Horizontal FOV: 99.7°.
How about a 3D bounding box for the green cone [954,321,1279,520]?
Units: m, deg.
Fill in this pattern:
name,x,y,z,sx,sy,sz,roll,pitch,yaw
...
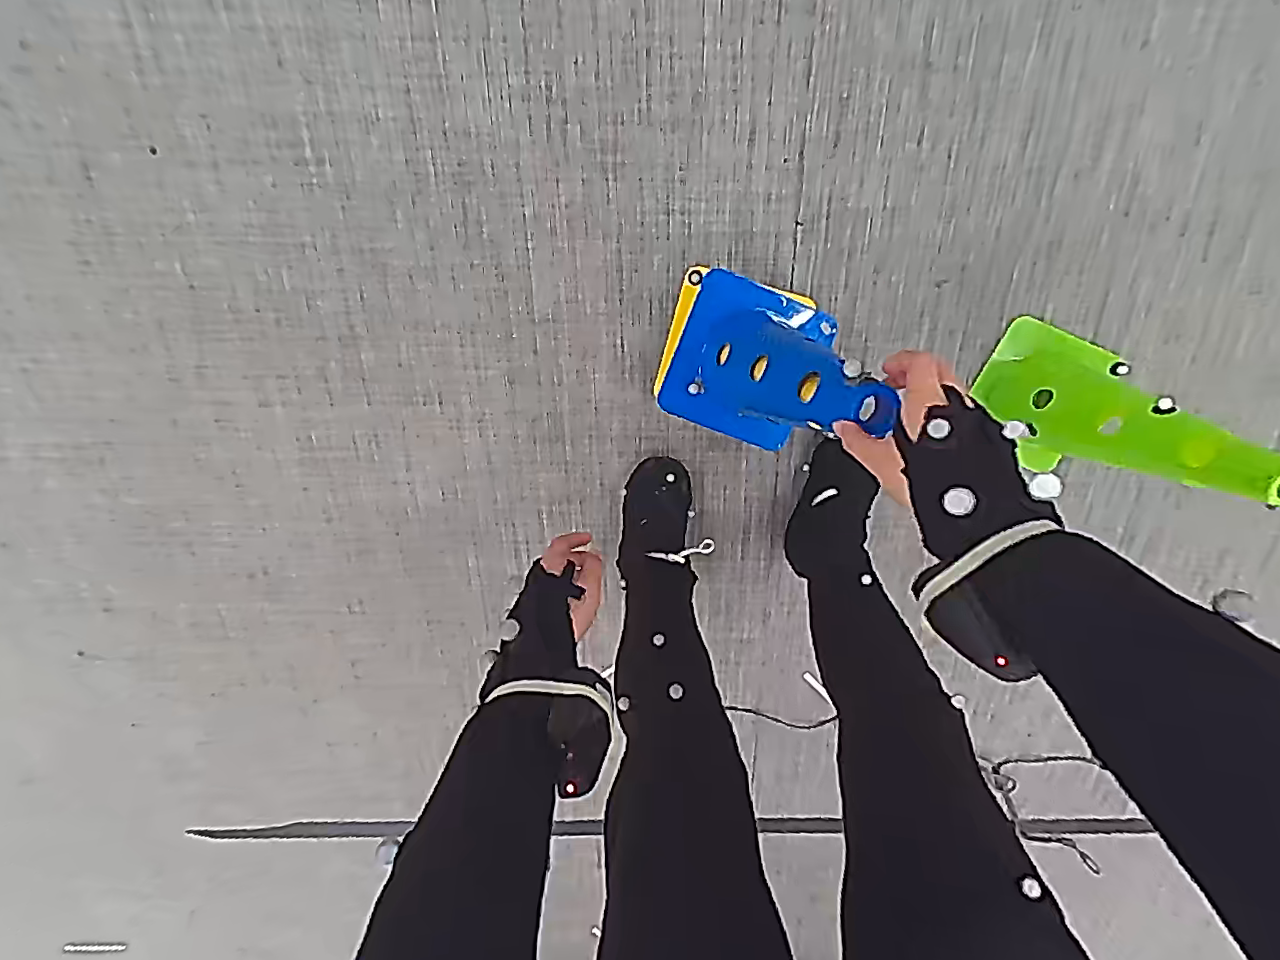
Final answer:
name,x,y,z,sx,sy,sz,roll,pitch,yaw
green cone,0.607,-0.054,0.667,0.200,0.368,0.202,19,111,-8
